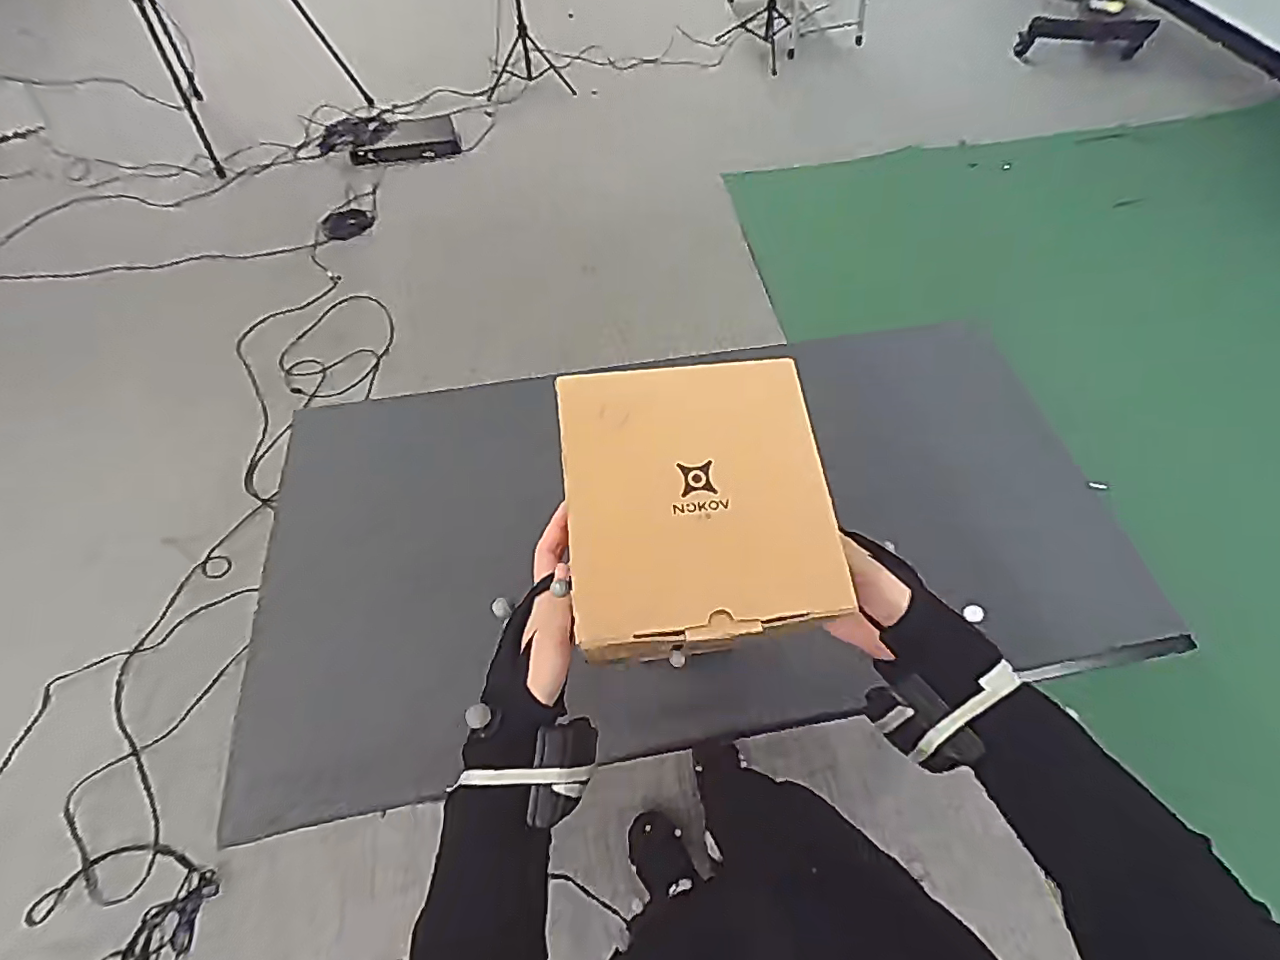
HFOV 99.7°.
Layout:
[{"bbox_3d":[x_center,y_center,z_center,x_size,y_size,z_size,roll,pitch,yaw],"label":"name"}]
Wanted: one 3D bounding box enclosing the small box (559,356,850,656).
[{"bbox_3d":[0.028,0.029,0.412,0.168,0.176,0.179,-5,68,-6],"label":"small box"}]
